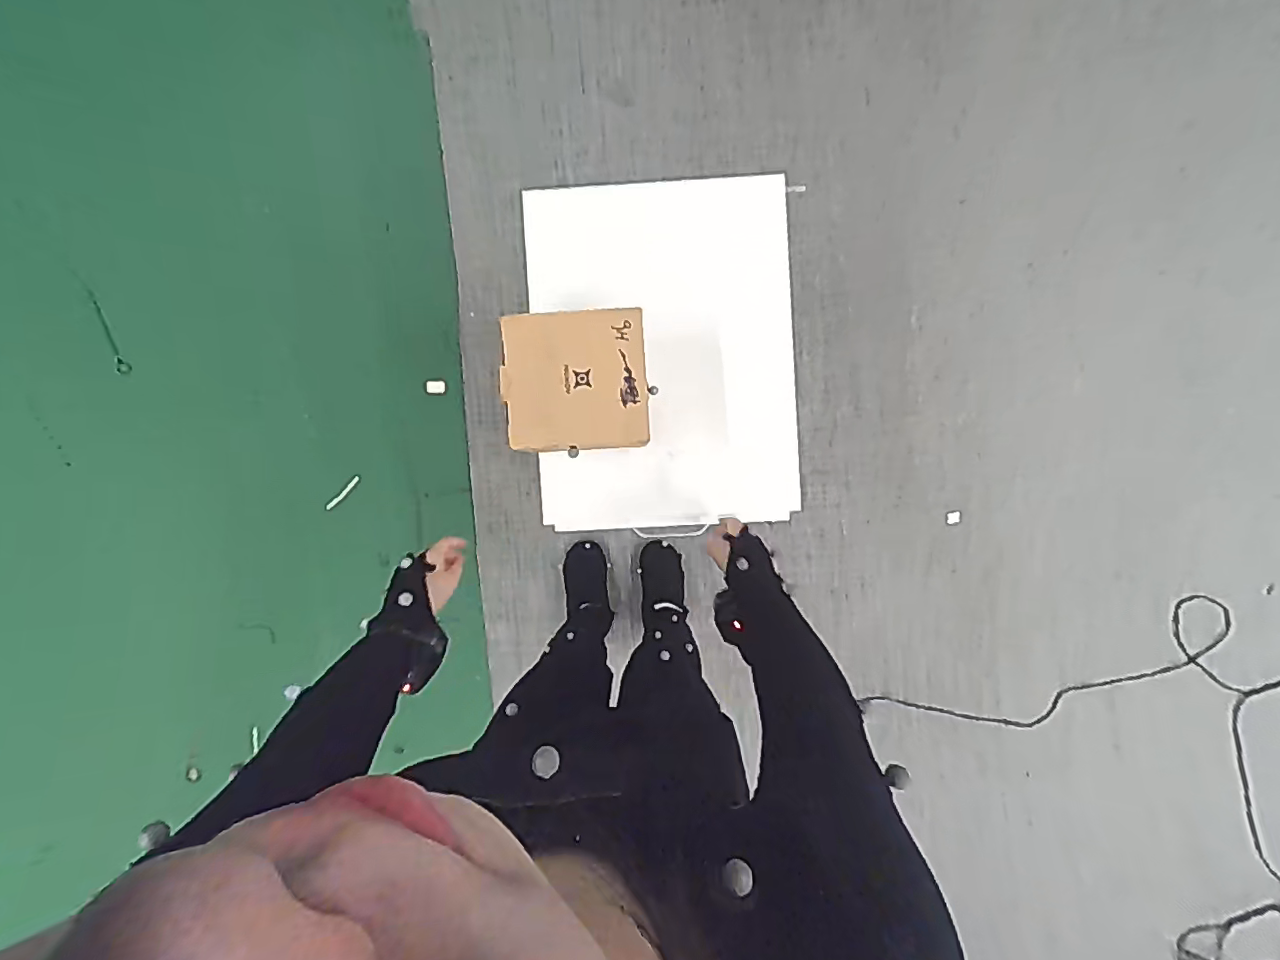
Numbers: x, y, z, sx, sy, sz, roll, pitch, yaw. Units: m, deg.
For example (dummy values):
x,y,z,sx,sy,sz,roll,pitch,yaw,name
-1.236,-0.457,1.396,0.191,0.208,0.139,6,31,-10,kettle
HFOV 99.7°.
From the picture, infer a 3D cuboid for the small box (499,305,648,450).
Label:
x,y,z,sx,sy,sz,roll,pitch,yaw,name
-0.081,-0.130,0.740,0.179,0.176,0.168,-4,92,0,small box
